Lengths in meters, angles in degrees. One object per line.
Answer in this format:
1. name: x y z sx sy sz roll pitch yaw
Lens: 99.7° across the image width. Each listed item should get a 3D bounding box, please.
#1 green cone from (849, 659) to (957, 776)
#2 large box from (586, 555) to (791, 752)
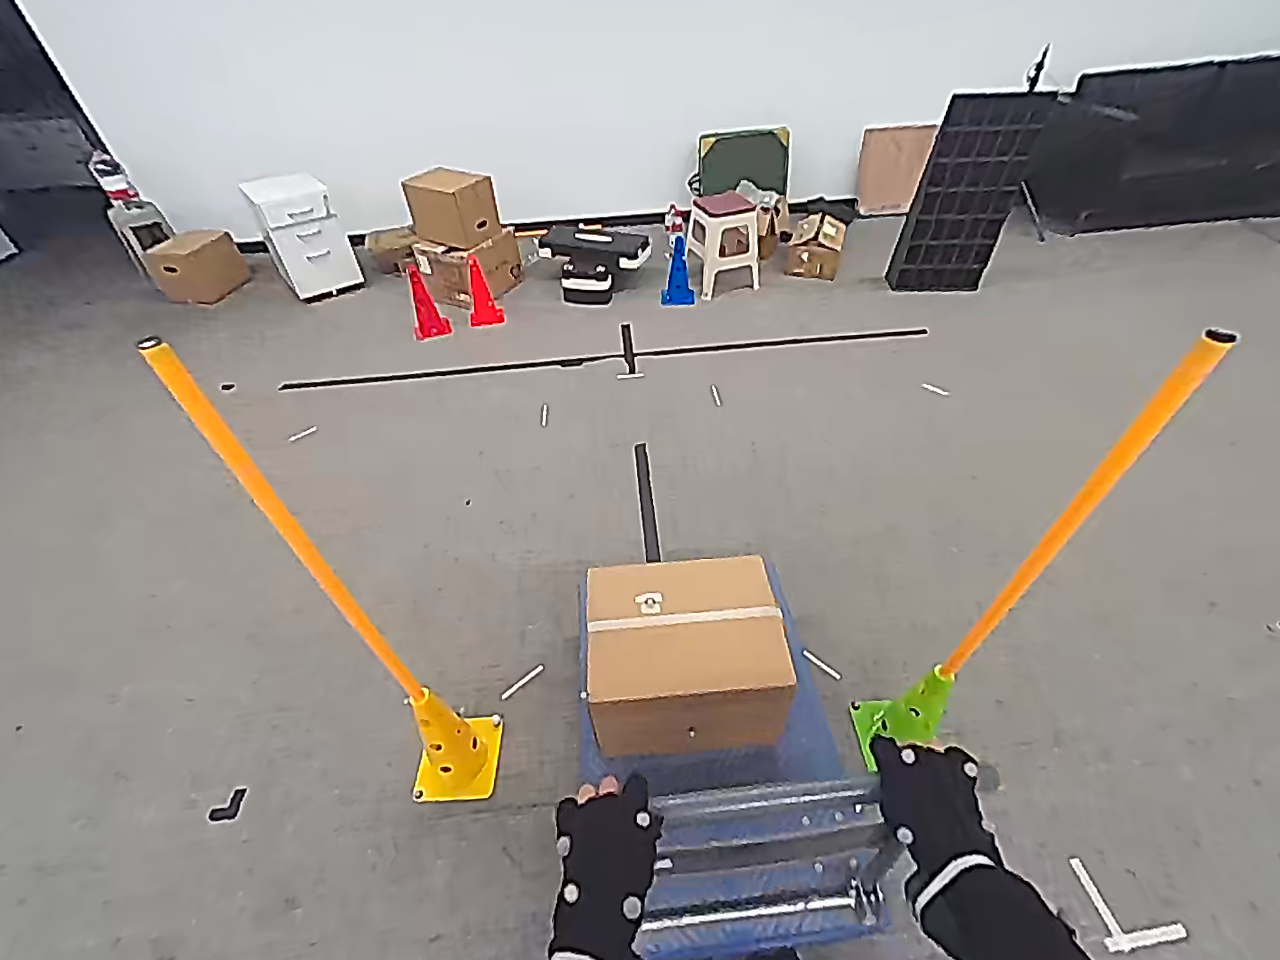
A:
1. green cone: 0.663 0.537 1.288 0.202 0.368 0.200 -2 44 0
2. large box: 0.096 0.405 1.251 0.408 0.320 0.320 -5 45 0
